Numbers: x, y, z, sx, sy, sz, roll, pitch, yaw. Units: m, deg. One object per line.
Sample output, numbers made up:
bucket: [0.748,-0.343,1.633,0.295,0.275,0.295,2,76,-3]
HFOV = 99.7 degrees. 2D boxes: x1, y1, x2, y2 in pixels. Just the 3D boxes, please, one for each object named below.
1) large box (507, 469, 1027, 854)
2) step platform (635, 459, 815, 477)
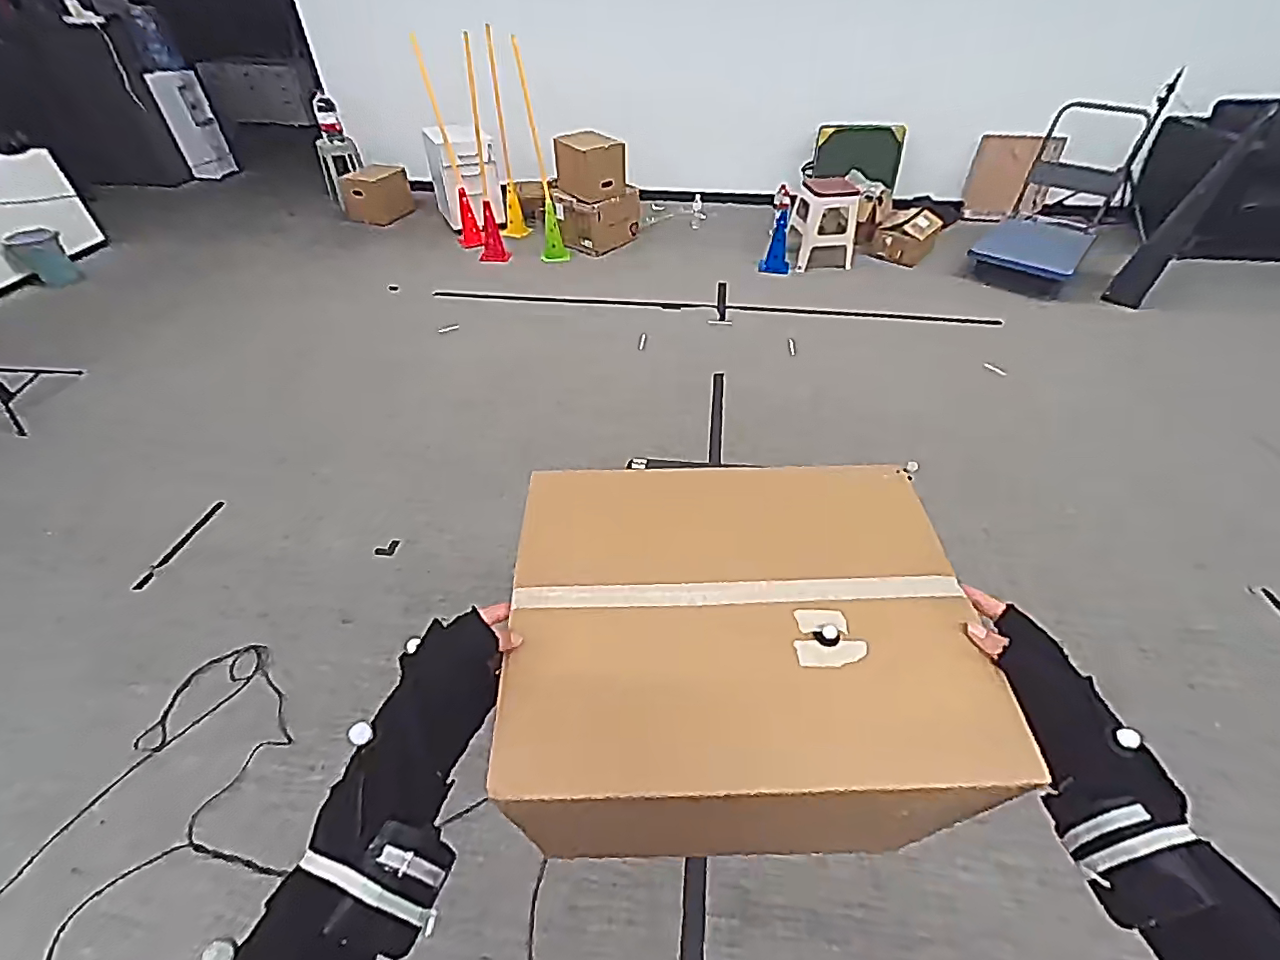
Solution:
large box: [0.090,0.206,0.611,0.408,0.320,0.320,-1,49,-1]
step platform: [0.304,0.093,1.923,0.684,0.204,0.286,3,44,2]
